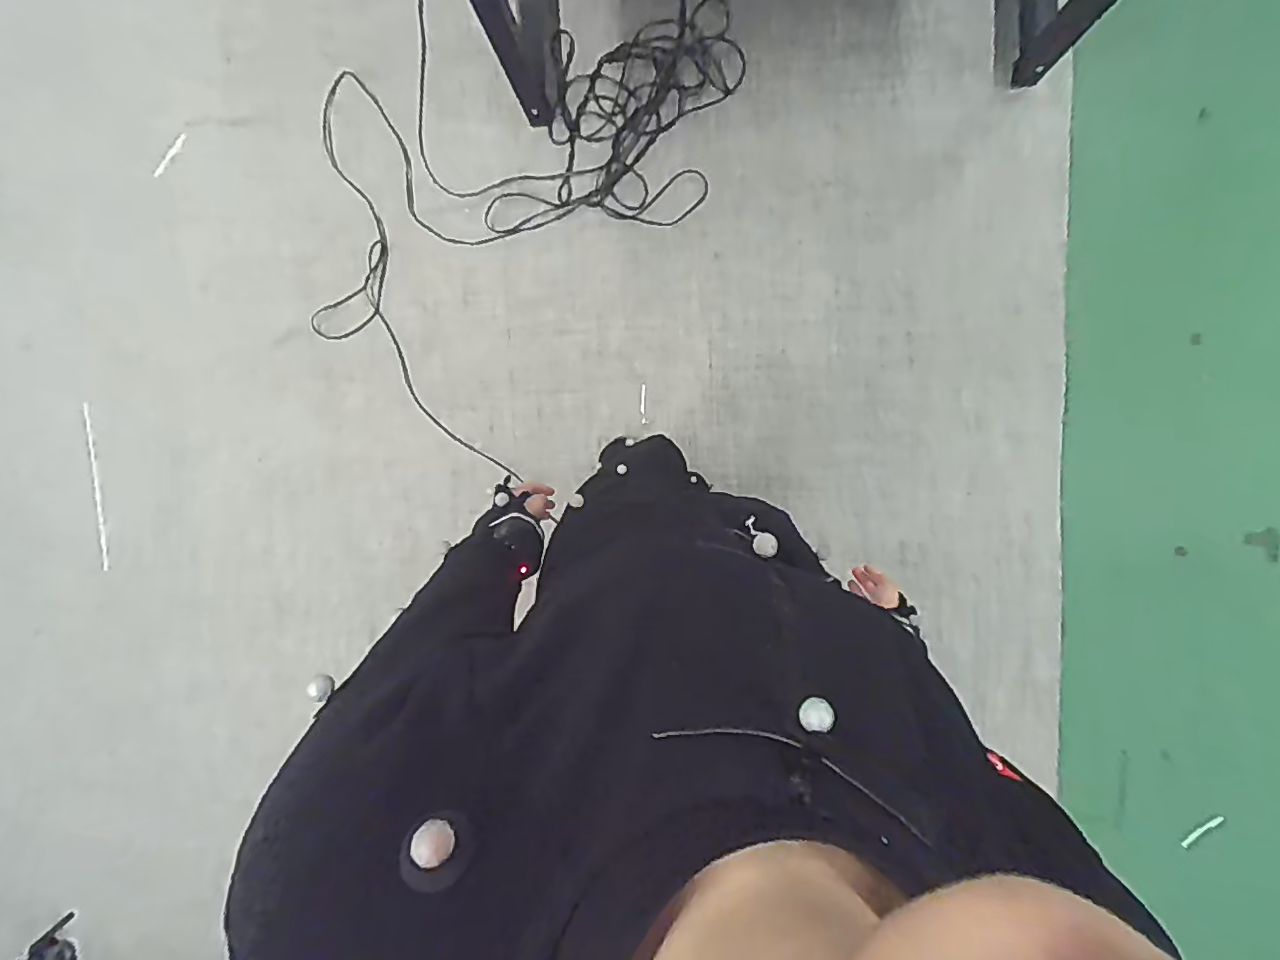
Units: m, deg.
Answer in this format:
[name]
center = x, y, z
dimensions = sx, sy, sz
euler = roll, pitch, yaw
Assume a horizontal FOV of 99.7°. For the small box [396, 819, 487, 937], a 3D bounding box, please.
[small box]
center = -0.503, 1.010, 1.387
dimensions = 0.168, 0.176, 0.179
euler = 3, 95, 5
